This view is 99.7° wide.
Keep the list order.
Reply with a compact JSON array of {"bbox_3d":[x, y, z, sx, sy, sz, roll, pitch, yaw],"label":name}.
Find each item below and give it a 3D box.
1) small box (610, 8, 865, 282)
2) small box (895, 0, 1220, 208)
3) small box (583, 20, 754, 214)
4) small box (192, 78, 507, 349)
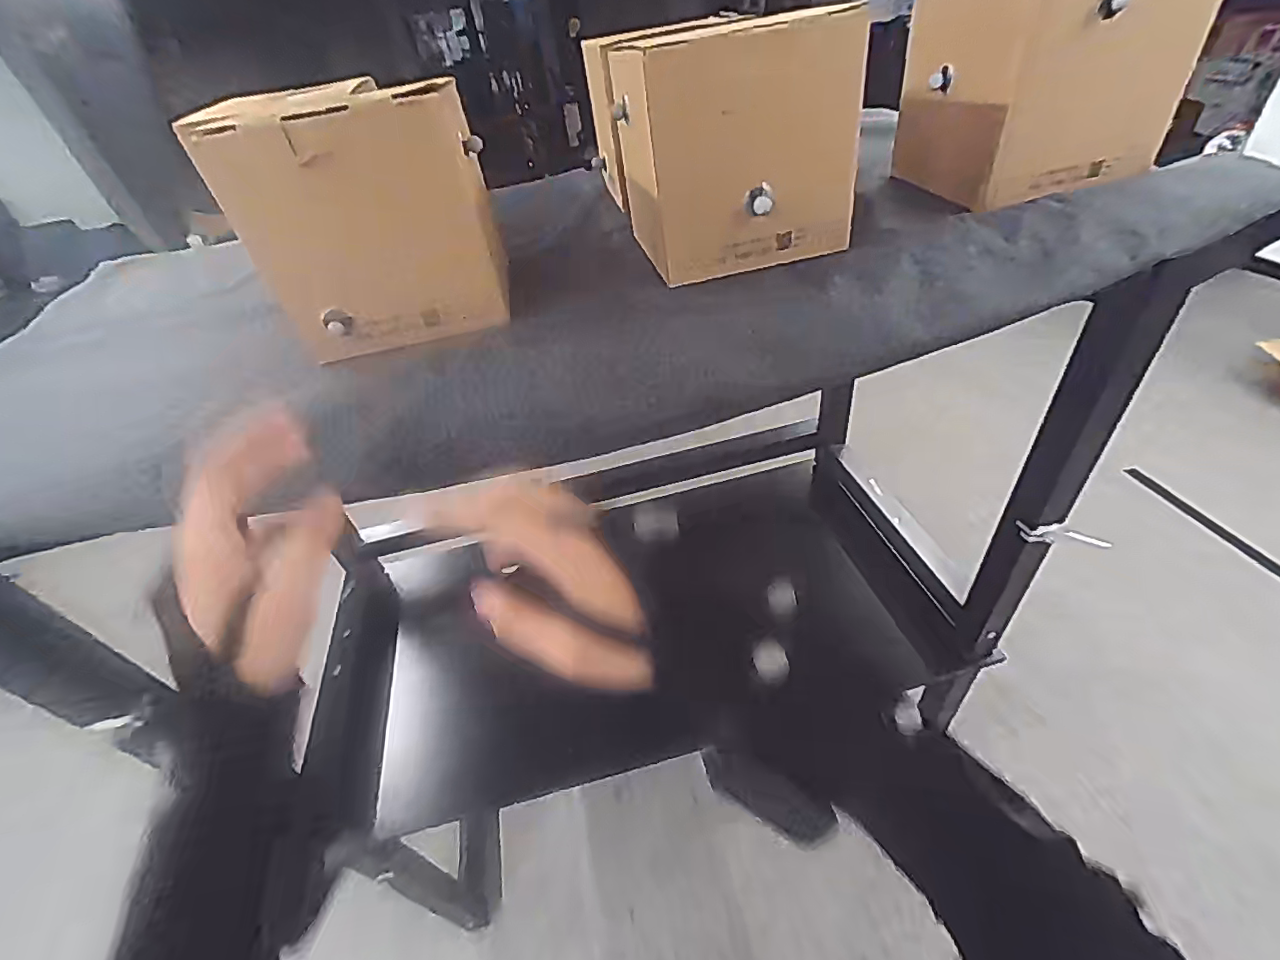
[{"bbox_3d":[0.075,-0.297,0.487,0.168,0.176,0.179,-13,40,-2],"label":"small box"},{"bbox_3d":[0.371,-0.378,0.519,0.168,0.176,0.179,-12,40,-1],"label":"small box"},{"bbox_3d":[0.035,-0.455,0.678,0.179,0.176,0.168,-13,40,-3],"label":"small box"},{"bbox_3d":[-0.219,-0.228,0.471,0.168,0.176,0.179,-13,40,-3],"label":"small box"}]
